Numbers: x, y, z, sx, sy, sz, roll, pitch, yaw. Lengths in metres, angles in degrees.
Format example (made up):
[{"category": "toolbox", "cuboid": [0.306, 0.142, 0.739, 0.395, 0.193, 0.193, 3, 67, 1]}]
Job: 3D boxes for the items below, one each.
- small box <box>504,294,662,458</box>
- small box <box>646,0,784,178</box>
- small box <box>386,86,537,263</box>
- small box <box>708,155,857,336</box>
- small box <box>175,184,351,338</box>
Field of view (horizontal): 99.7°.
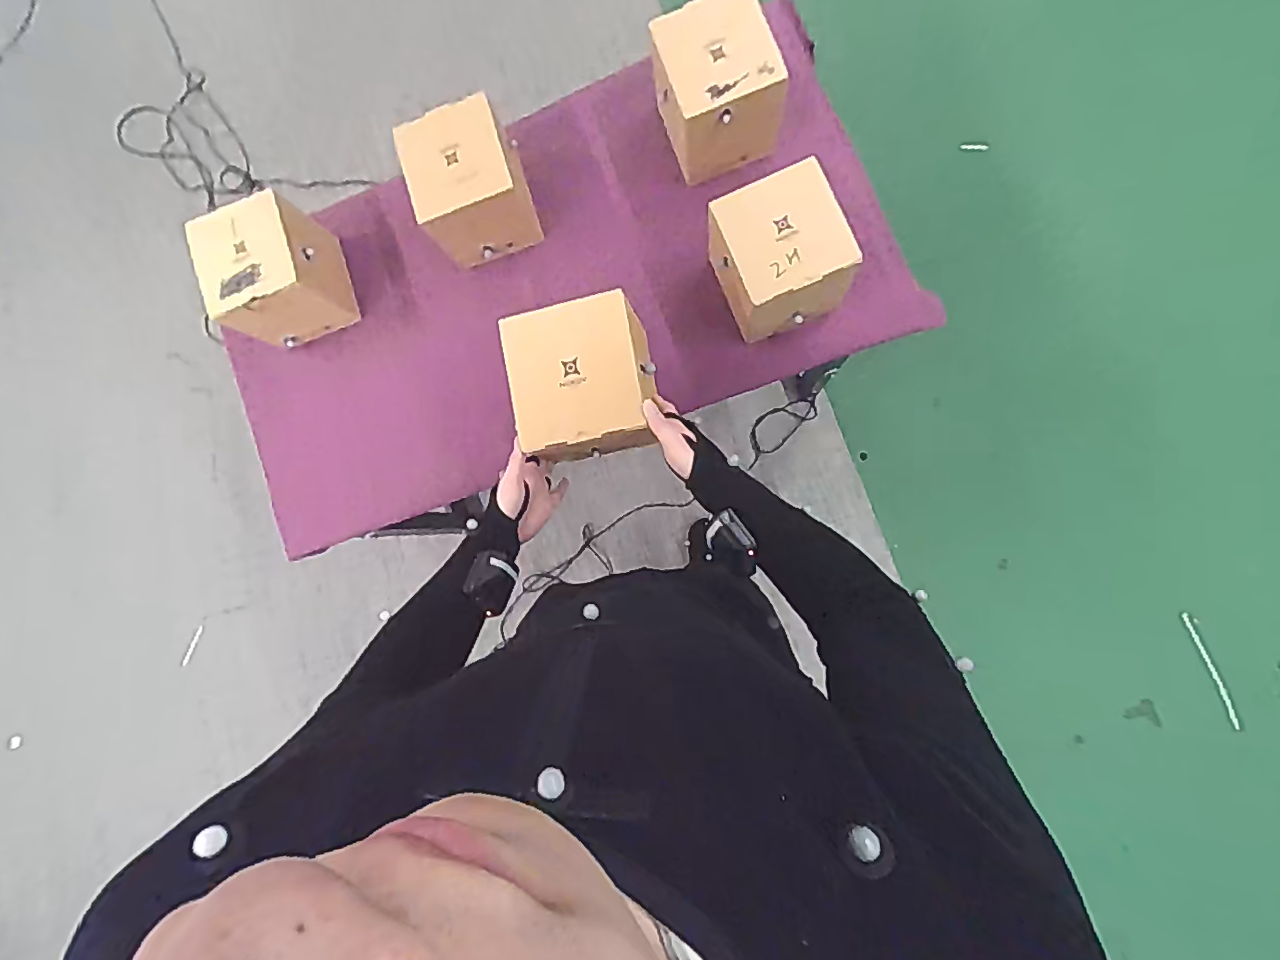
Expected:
[{"category": "small box", "cuboid": [-0.070, -0.131, 0.752, 0.168, 0.176, 0.179, -11, 89, 8]}, {"category": "small box", "cuboid": [0.118, -0.646, 0.887, 0.168, 0.176, 0.179, -20, 85, 5]}, {"category": "small box", "cuboid": [-0.294, -0.507, 0.922, 0.168, 0.176, 0.179, -18, 86, 5]}, {"category": "small box", "cuboid": [0.212, -0.357, 0.857, 0.168, 0.176, 0.179, -22, 85, 6]}, {"category": "small box", "cuboid": [-0.644, -0.365, 0.945, 0.168, 0.176, 0.179, -20, 85, 4]}]
